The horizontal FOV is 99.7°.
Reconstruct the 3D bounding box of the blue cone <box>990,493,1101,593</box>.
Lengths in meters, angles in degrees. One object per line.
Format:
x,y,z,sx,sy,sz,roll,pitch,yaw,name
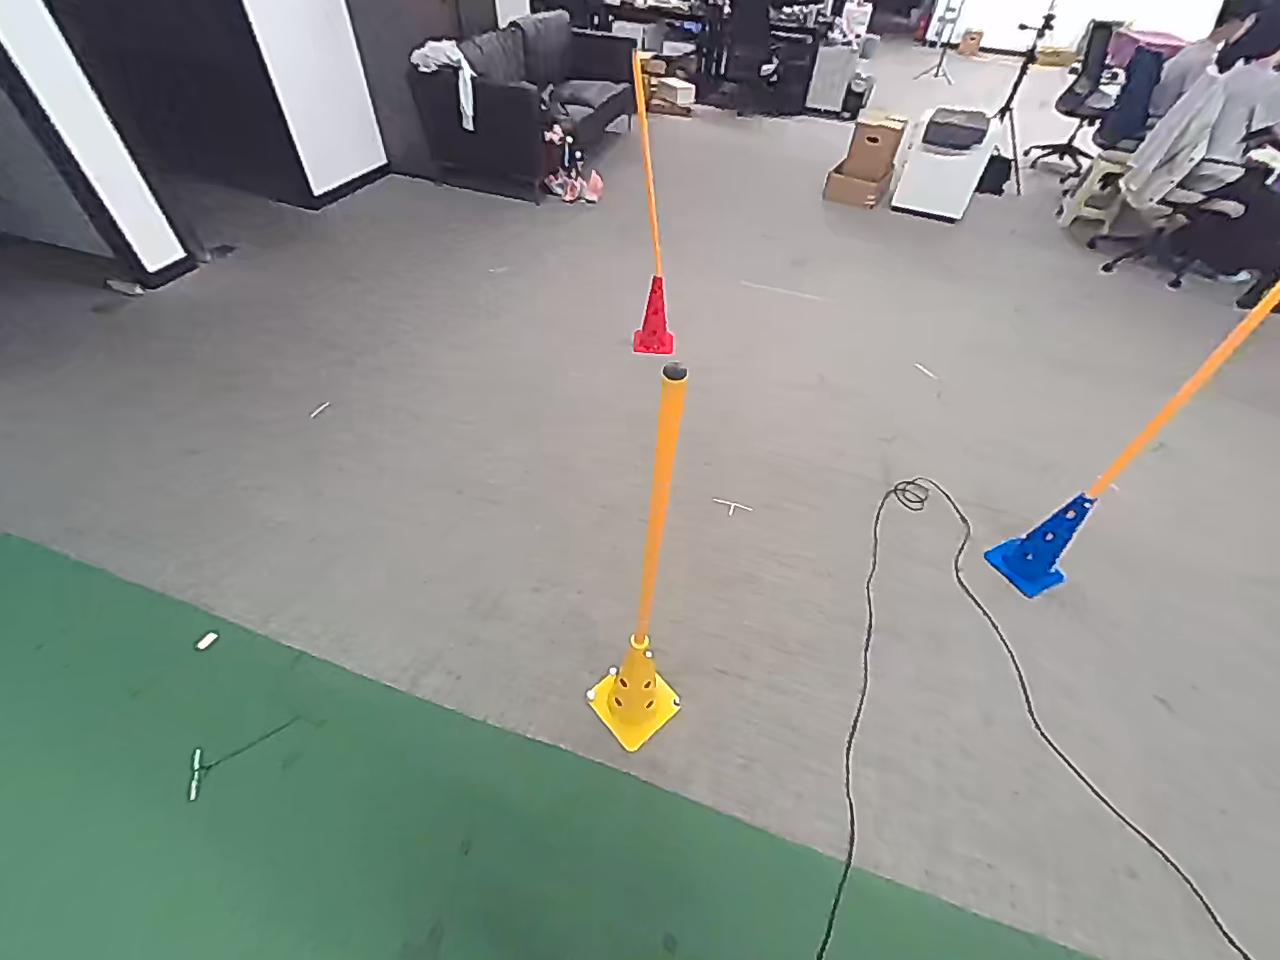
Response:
1.343,0.176,1.754,0.193,0.380,0.192,-16,49,-22,blue cone
